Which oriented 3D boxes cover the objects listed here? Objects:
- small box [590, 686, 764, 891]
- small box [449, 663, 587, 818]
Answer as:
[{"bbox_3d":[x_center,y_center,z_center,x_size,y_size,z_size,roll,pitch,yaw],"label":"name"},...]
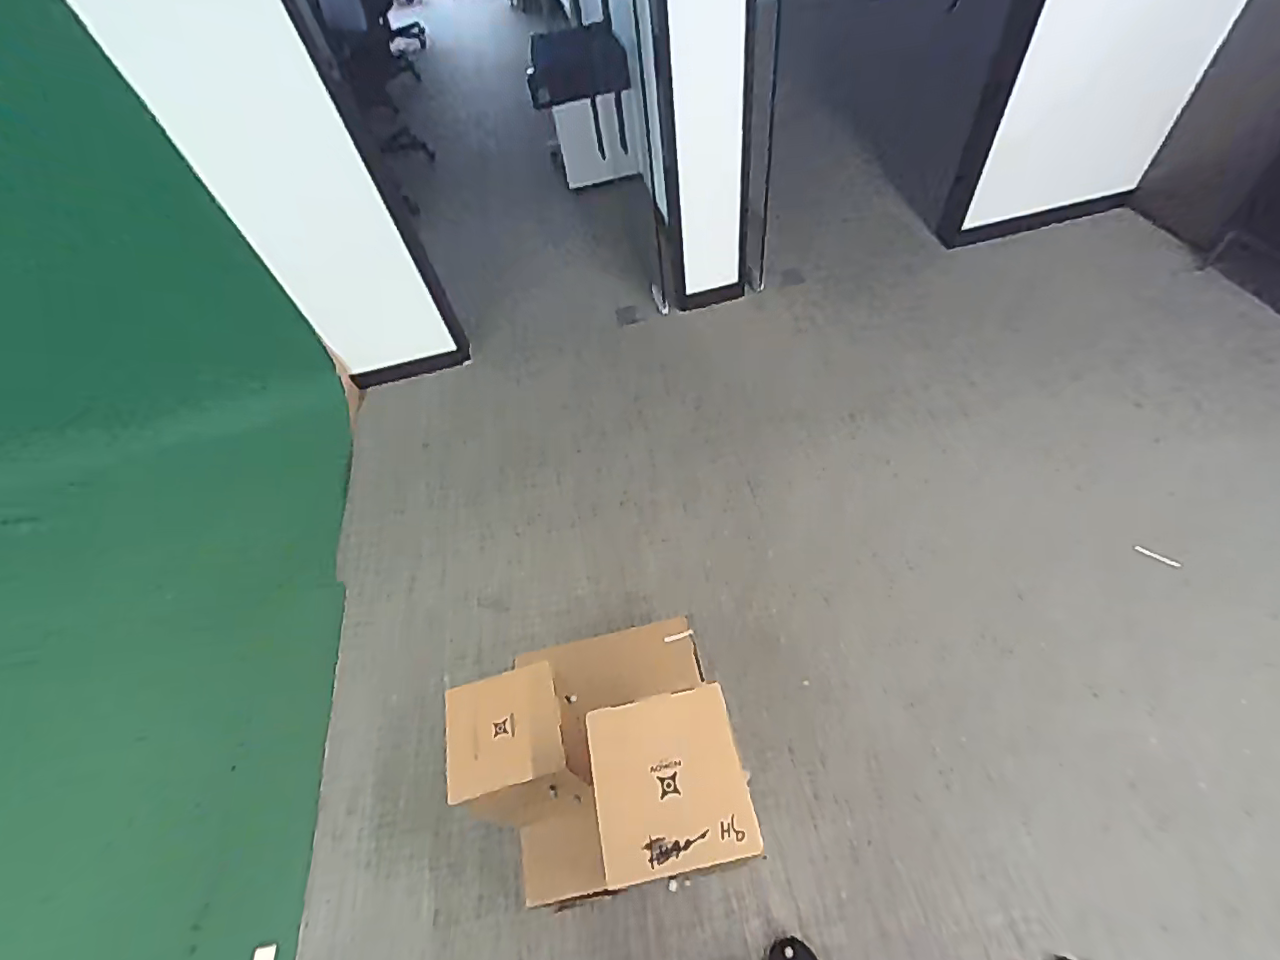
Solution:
[{"bbox_3d":[0.040,0.377,0.657,0.168,0.176,0.179,-11,52,-1],"label":"small box"},{"bbox_3d":[-0.189,0.422,0.870,0.179,0.176,0.168,-16,51,-2],"label":"small box"}]
